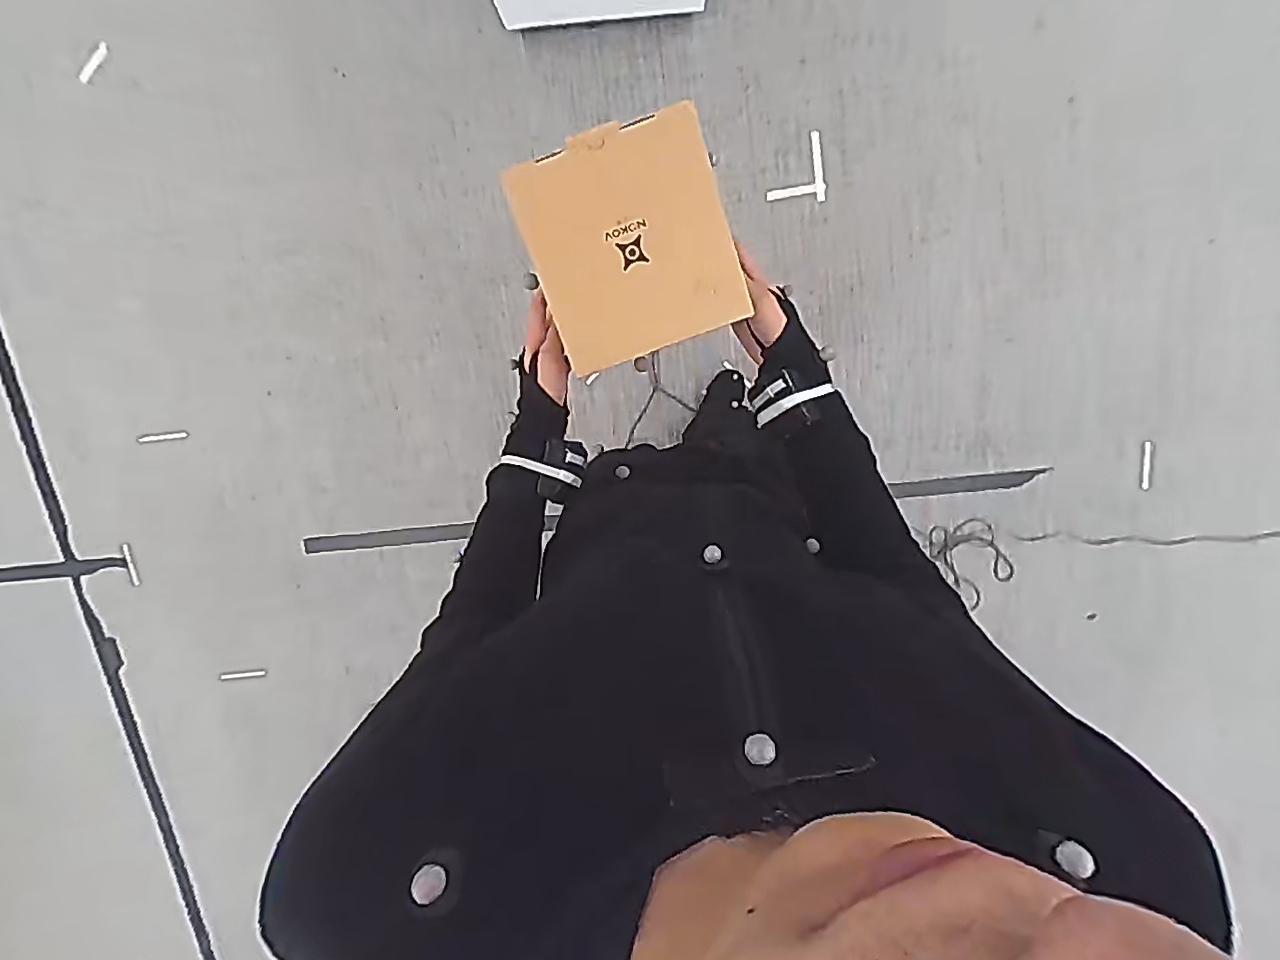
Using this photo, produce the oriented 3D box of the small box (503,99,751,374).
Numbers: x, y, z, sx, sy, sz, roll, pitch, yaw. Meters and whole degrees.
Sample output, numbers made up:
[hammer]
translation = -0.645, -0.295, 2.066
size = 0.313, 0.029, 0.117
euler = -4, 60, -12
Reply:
[small box]
translation = -0.008, -0.215, 0.528
size = 0.168, 0.176, 0.179
euler = -20, 101, 3
